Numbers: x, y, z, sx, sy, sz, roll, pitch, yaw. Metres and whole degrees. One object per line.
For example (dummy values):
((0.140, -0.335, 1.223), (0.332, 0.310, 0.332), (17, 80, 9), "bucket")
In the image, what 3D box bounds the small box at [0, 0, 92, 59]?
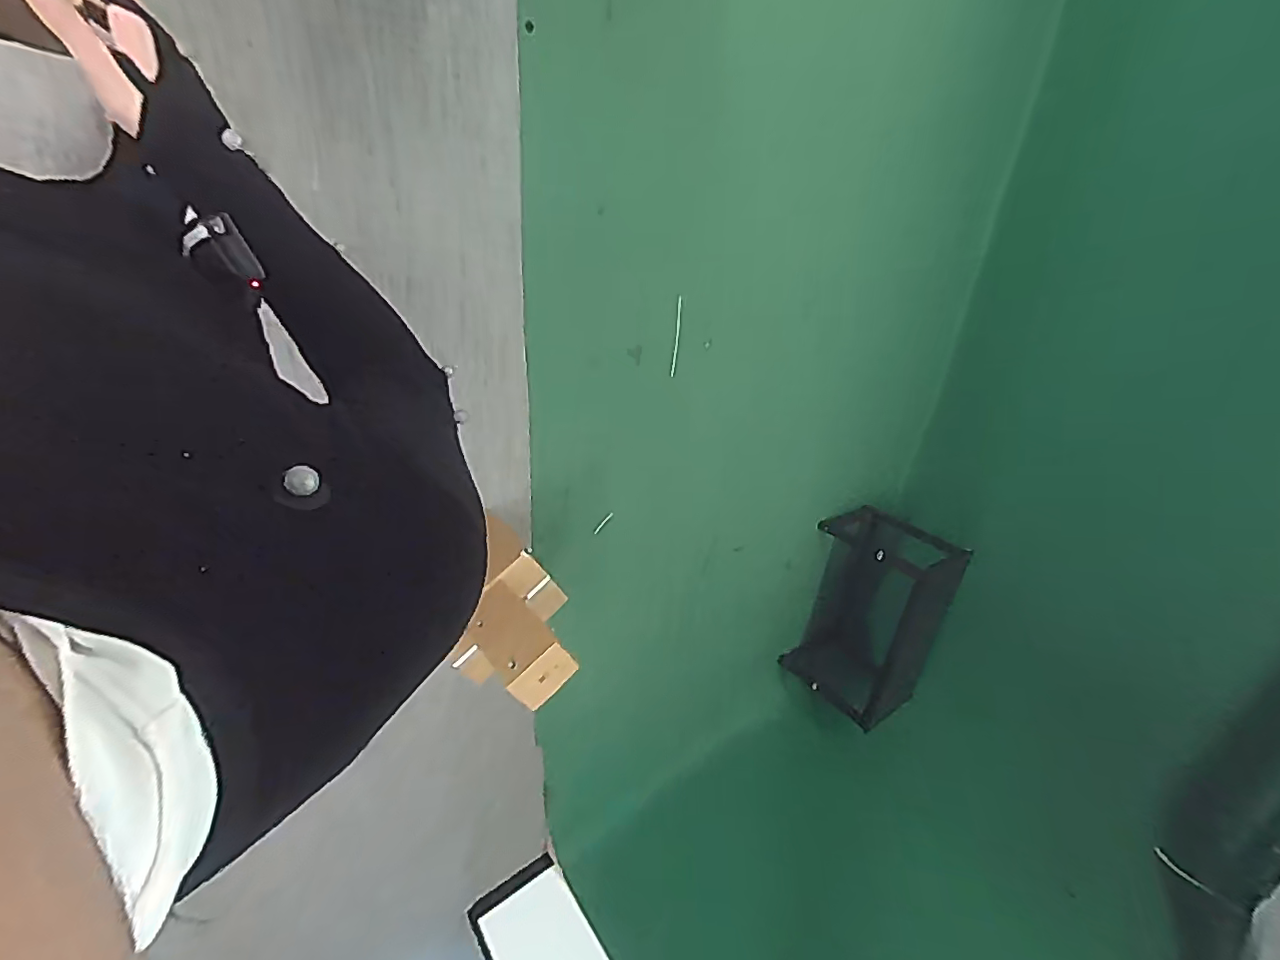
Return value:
((-0.509, -0.437, 0.372), (0.168, 0.176, 0.179), (-9, 114, -40), "small box")

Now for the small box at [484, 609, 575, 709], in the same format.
((-0.324, 0.508, 1.548), (0.179, 0.176, 0.168), (-41, 135, -16), "small box")

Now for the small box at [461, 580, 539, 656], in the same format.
((-0.426, 0.444, 1.662), (0.179, 0.176, 0.168), (-44, 135, -16), "small box")
